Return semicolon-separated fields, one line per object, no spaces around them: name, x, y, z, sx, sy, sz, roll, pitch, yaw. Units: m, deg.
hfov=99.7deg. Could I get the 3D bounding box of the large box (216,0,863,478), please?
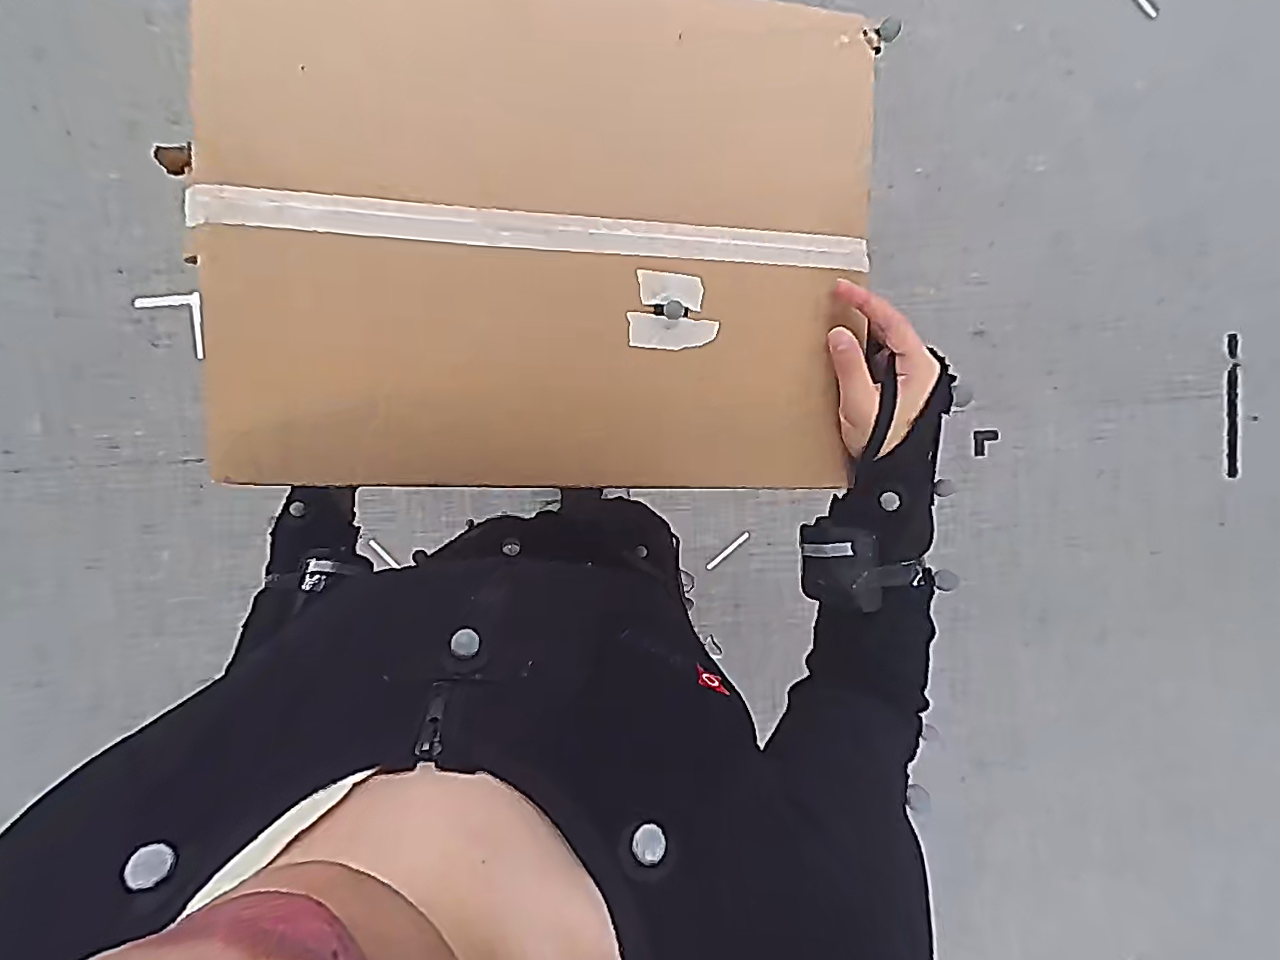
large box;-0.071;-0.169;0.491;0.408;0.320;0.320;0;95;-10
